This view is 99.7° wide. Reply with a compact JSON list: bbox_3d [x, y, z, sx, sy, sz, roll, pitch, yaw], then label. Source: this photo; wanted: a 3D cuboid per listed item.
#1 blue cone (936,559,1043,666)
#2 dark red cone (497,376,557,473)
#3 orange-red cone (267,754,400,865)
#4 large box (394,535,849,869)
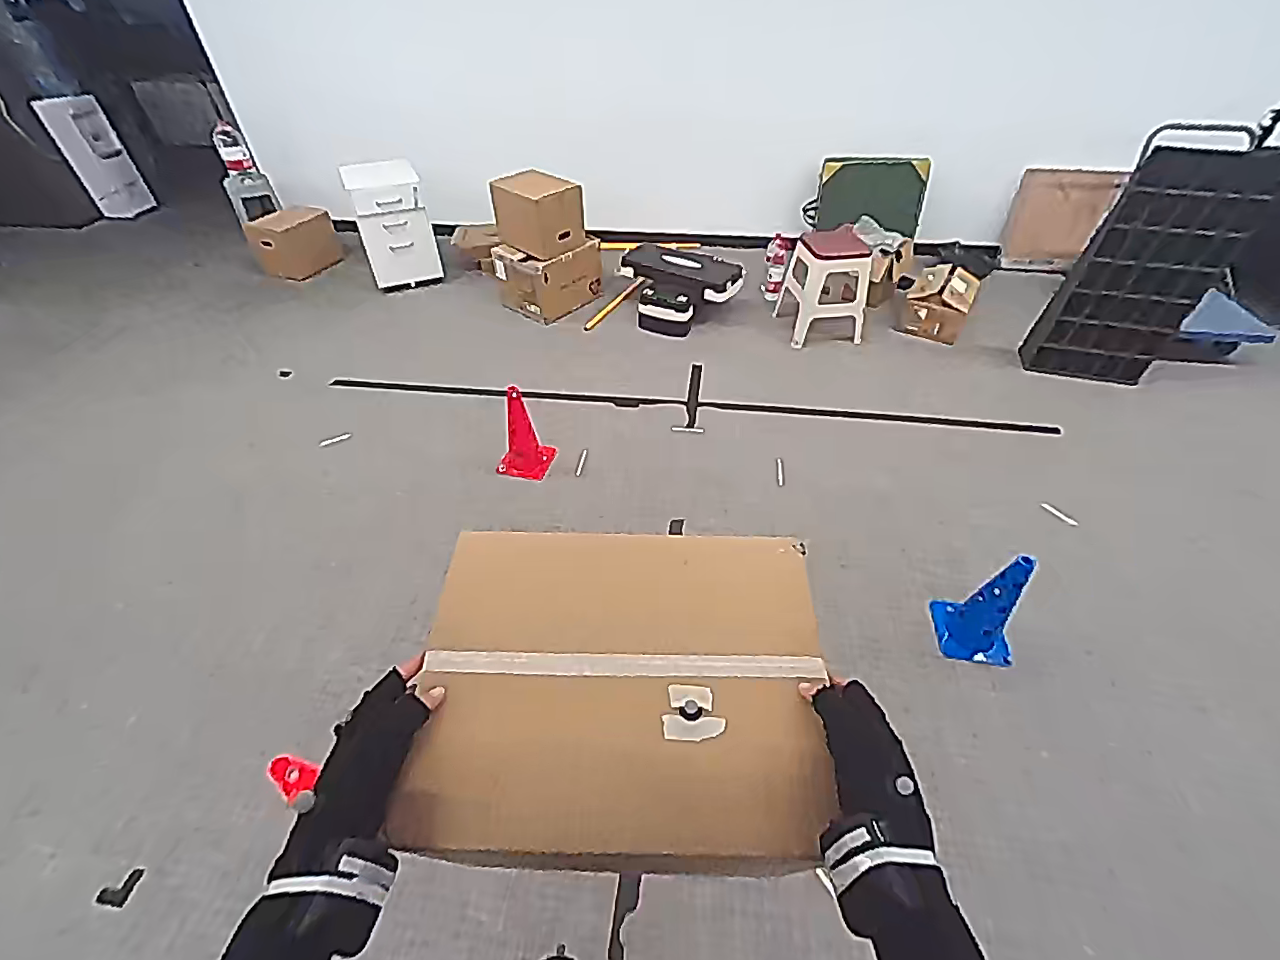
[{"bbox_3d":[1.016,0.352,1.535,0.192,0.380,0.193,9,45,7],"label":"blue cone"},{"bbox_3d":[-0.454,-0.222,2.081,0.201,0.394,0.202,10,45,9],"label":"dark red cone"},{"bbox_3d":[-0.706,0.682,1.182,0.198,0.360,0.199,3,45,5],"label":"orange-red cone"},{"bbox_3d":[-0.017,0.282,0.672,0.408,0.320,0.320,2,52,1],"label":"large box"}]
